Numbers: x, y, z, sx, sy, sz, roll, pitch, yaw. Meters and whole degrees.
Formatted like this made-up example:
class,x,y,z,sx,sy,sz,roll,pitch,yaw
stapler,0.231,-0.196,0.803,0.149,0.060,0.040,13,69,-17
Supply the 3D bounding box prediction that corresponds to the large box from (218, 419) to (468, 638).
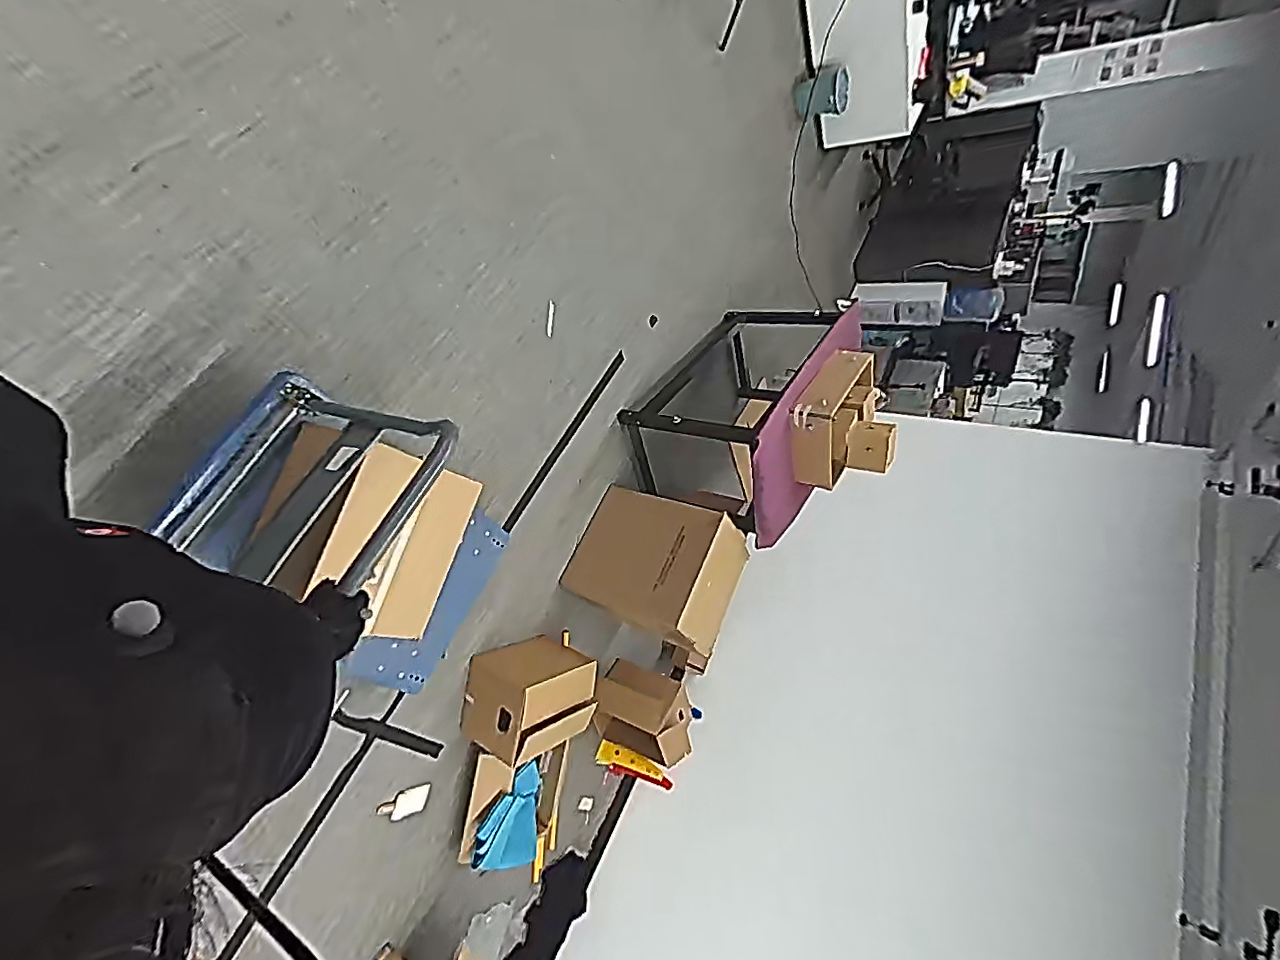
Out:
class,x,y,z,sx,sy,sz,roll,pitch,yaw
large box,-0.681,0.114,1.266,0.320,0.320,0.408,32,75,-55
